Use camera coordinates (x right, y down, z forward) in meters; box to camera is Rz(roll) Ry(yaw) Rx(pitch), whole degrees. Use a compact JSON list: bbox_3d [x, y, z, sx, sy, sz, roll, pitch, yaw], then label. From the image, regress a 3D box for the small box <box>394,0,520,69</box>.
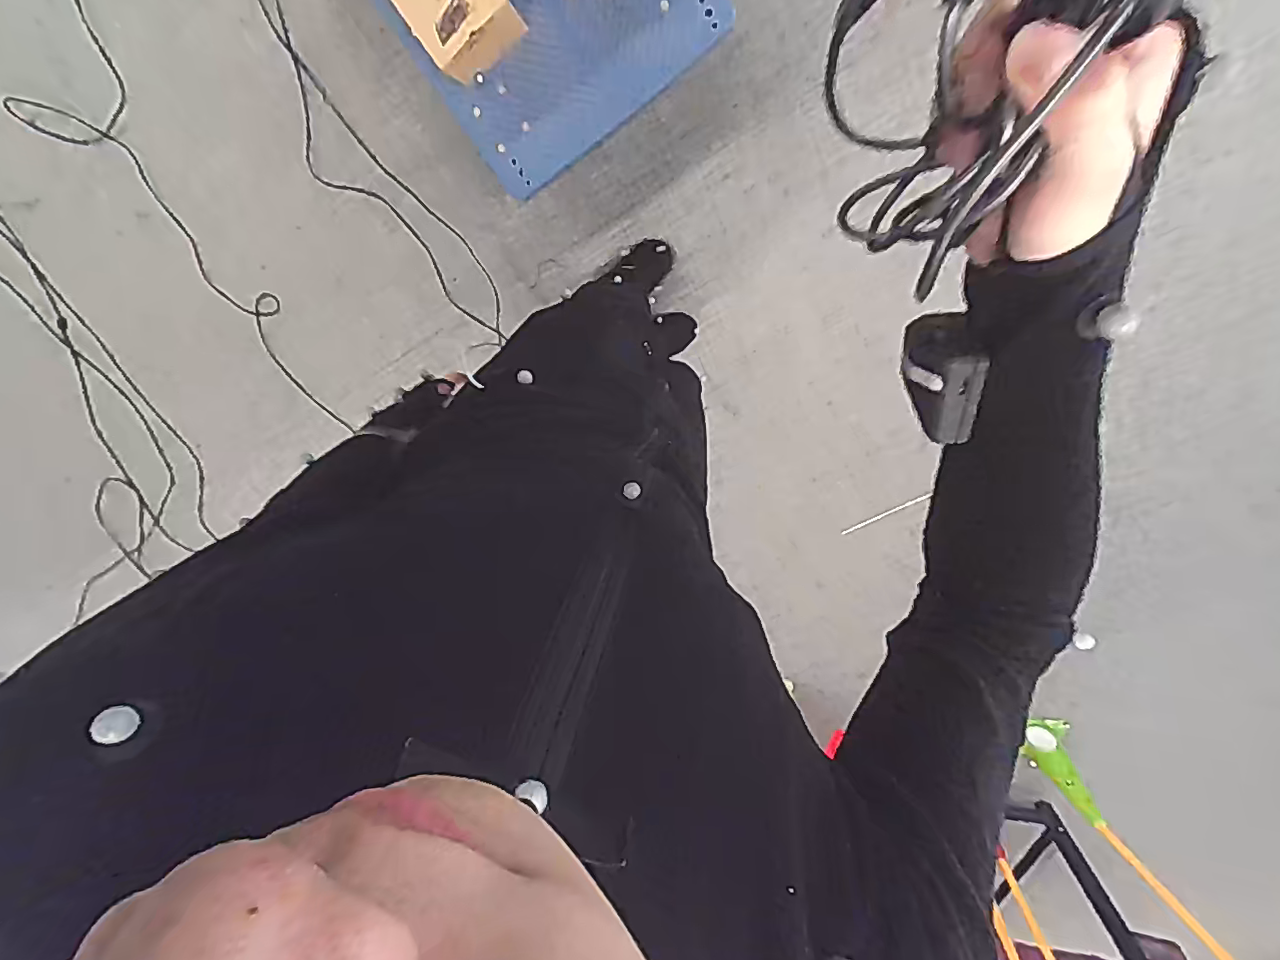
[{"bbox_3d":[-0.342,-0.885,0.974,0.168,0.176,0.179,-32,112,17],"label":"small box"}]
